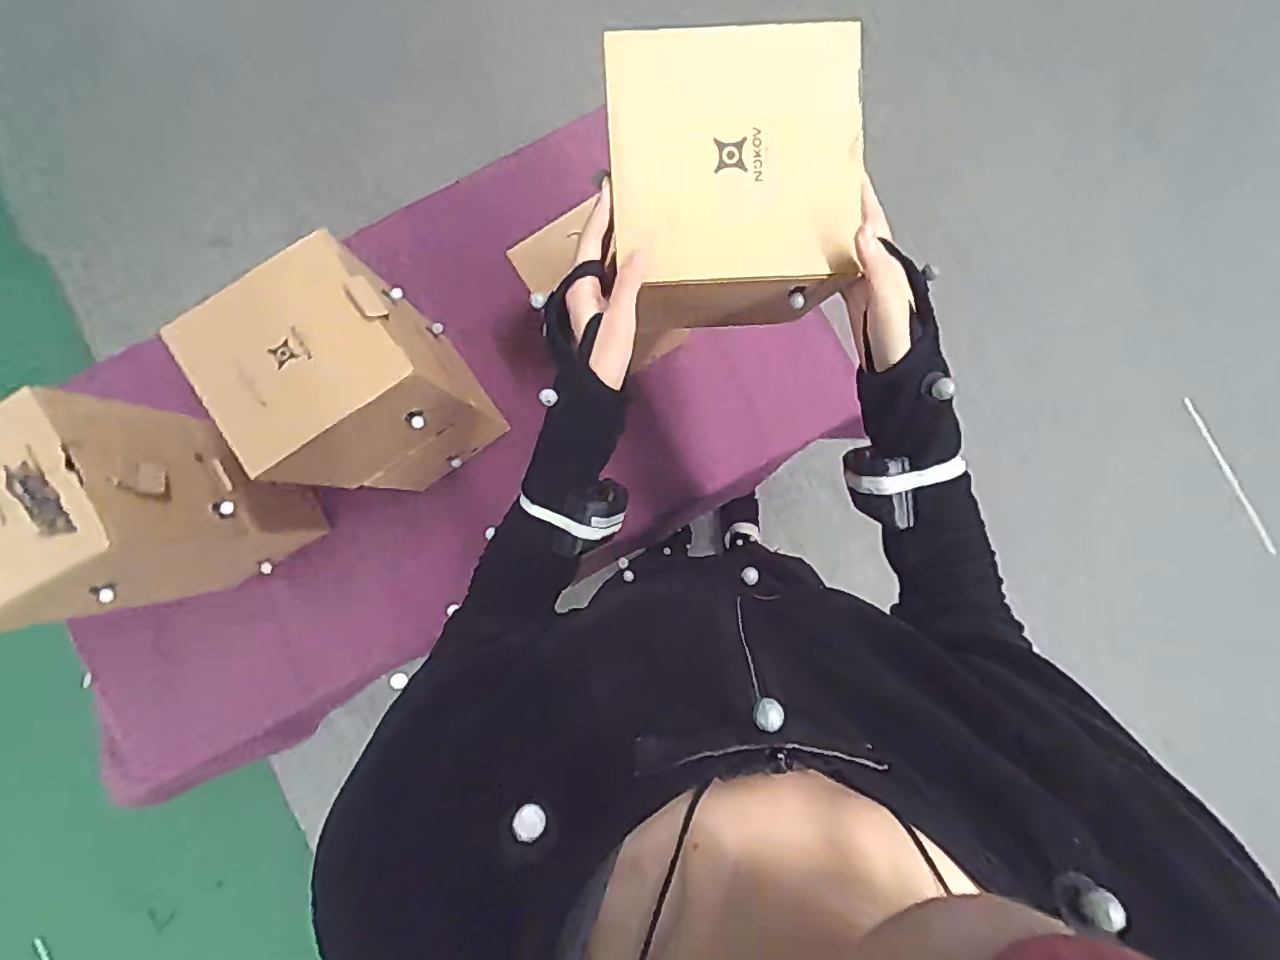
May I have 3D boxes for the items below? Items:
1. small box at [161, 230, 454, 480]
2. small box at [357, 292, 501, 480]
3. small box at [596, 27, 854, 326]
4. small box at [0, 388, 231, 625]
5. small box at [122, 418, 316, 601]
[{"bbox_3d":[-0.321,-0.114,0.569,0.179,0.176,0.168,-33,86,0],"label":"small box"},{"bbox_3d":[-0.318,-0.112,0.732,0.168,0.176,0.179,-35,88,0],"label":"small box"},{"bbox_3d":[0.059,-0.228,0.451,0.179,0.176,0.168,-3,95,-2],"label":"small box"},{"bbox_3d":[-0.579,0.029,0.563,0.179,0.176,0.168,-30,88,0],"label":"small box"},{"bbox_3d":[-0.577,0.037,0.727,0.179,0.176,0.168,-30,87,-1],"label":"small box"}]
